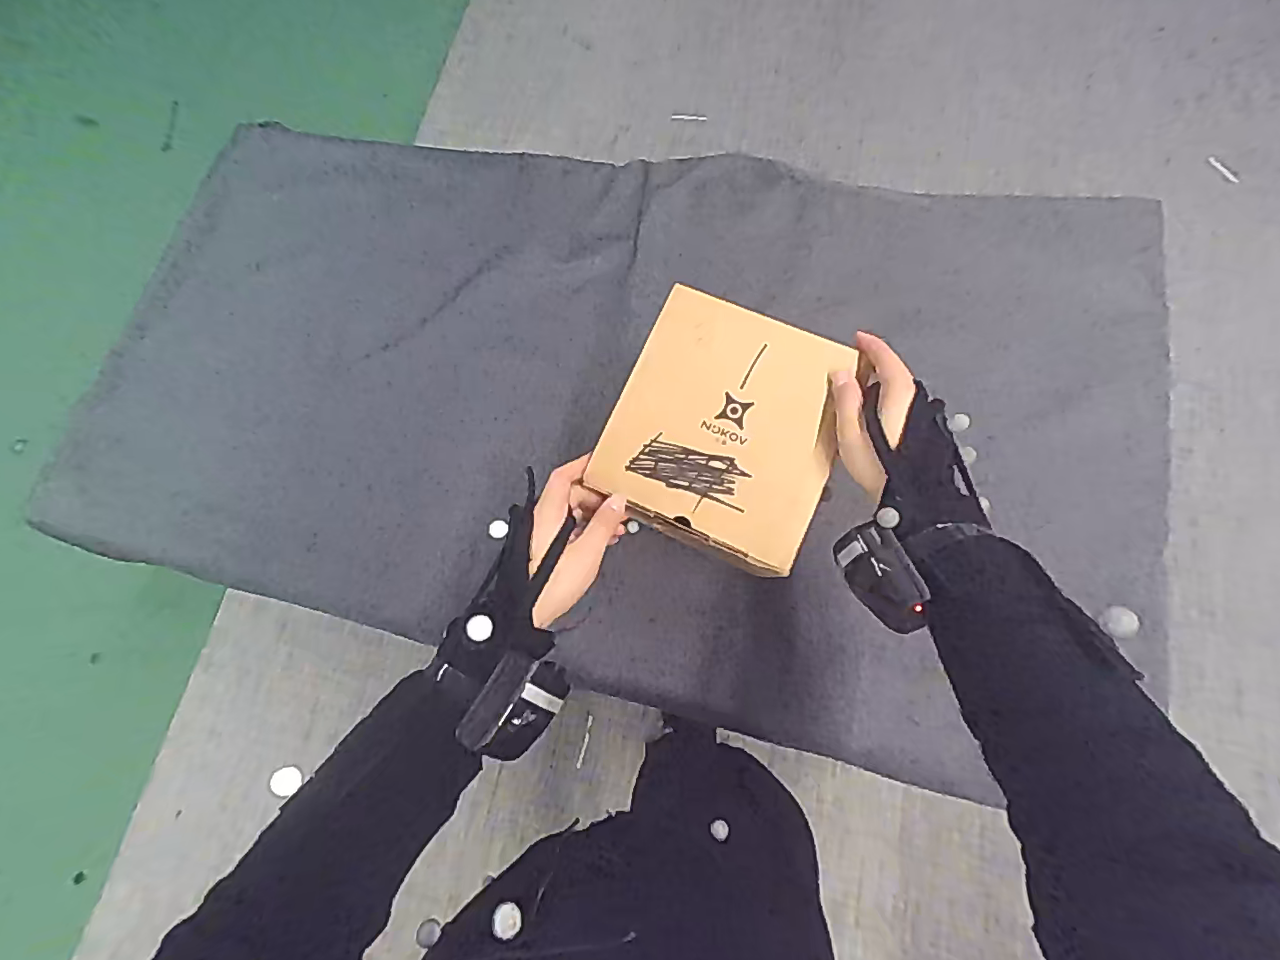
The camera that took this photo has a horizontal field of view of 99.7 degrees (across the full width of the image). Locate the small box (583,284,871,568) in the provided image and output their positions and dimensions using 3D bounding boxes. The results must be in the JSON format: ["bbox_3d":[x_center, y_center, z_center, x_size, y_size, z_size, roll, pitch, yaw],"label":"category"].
[{"bbox_3d":[0.072,-0.032,0.480,0.168,0.176,0.179,24,82,9],"label":"small box"}]
